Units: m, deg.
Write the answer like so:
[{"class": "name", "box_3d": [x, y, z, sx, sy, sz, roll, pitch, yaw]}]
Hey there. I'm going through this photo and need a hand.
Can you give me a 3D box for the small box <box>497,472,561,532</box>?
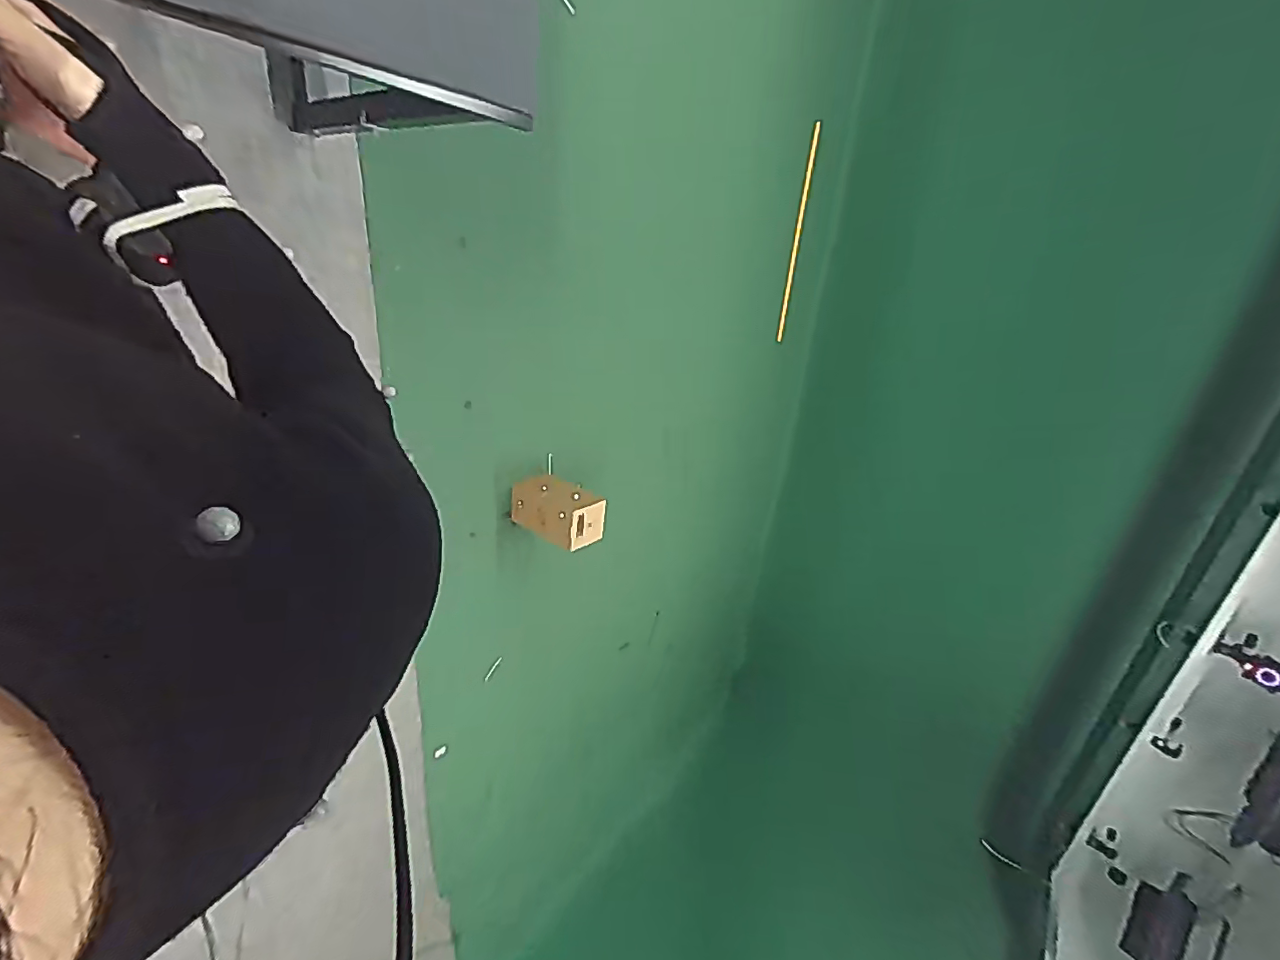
[{"class": "small box", "box_3d": [-0.435, 0.080, 2.123, 0.179, 0.176, 0.168, -20, 124, -50]}]
